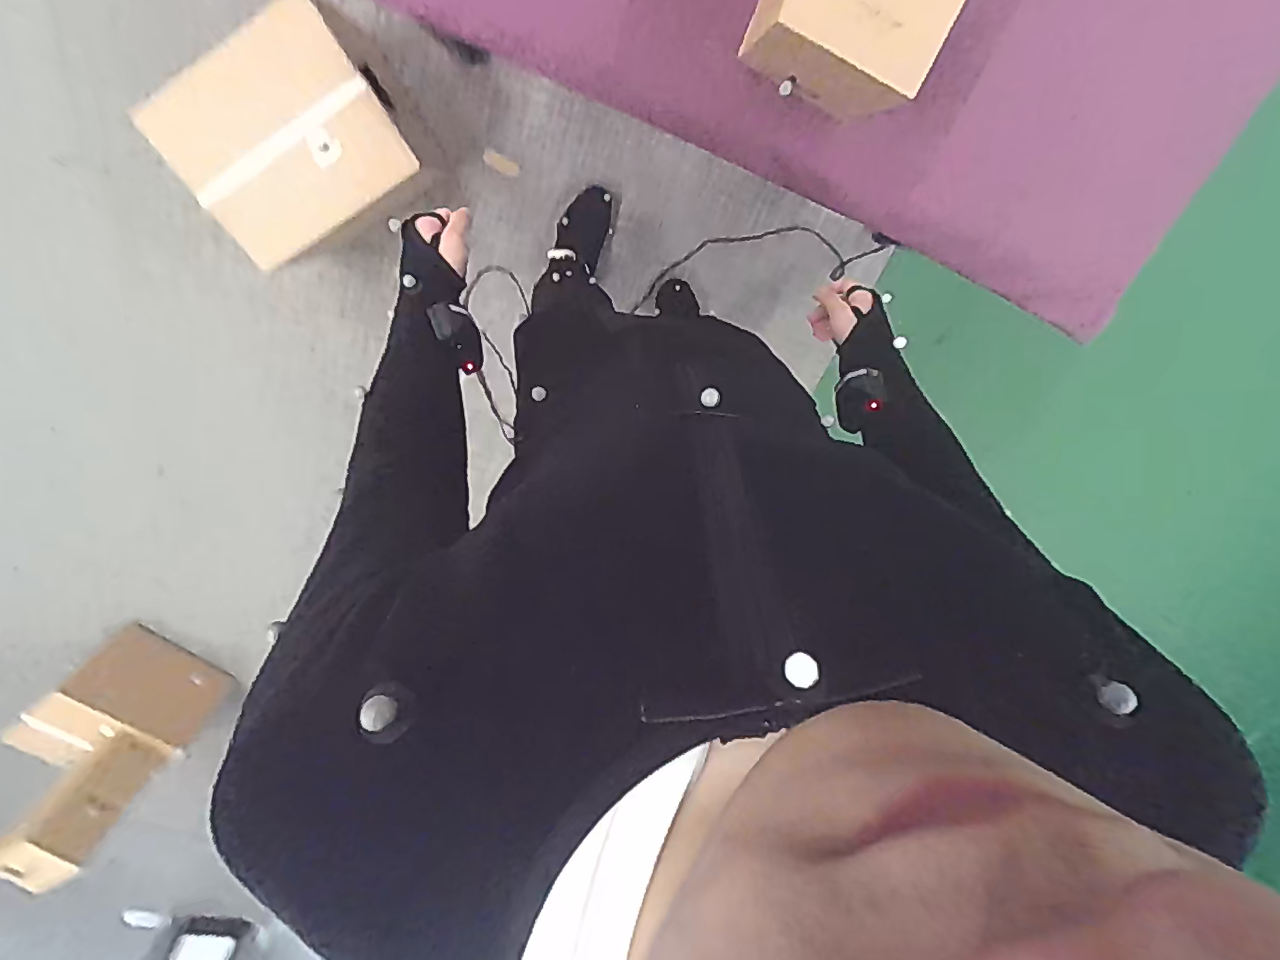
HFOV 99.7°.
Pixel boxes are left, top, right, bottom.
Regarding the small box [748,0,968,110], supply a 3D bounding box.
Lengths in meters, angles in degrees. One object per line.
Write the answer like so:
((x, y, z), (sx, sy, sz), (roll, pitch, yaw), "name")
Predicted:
((0.231, -0.522, 0.558), (0.168, 0.176, 0.179), (19, 115, -14), "small box")

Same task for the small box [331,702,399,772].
((-1.034, 0.965, 2.038), (0.179, 0.176, 0.168), (14, 116, -12), "small box")

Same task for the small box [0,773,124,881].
((-1.616, 0.958, 1.501), (0.179, 0.176, 0.168), (-27, 117, 7), "small box")

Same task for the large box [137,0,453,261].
((-0.674, -0.717, 1.131), (0.408, 0.320, 0.320), (-28, 118, 9), "large box")
